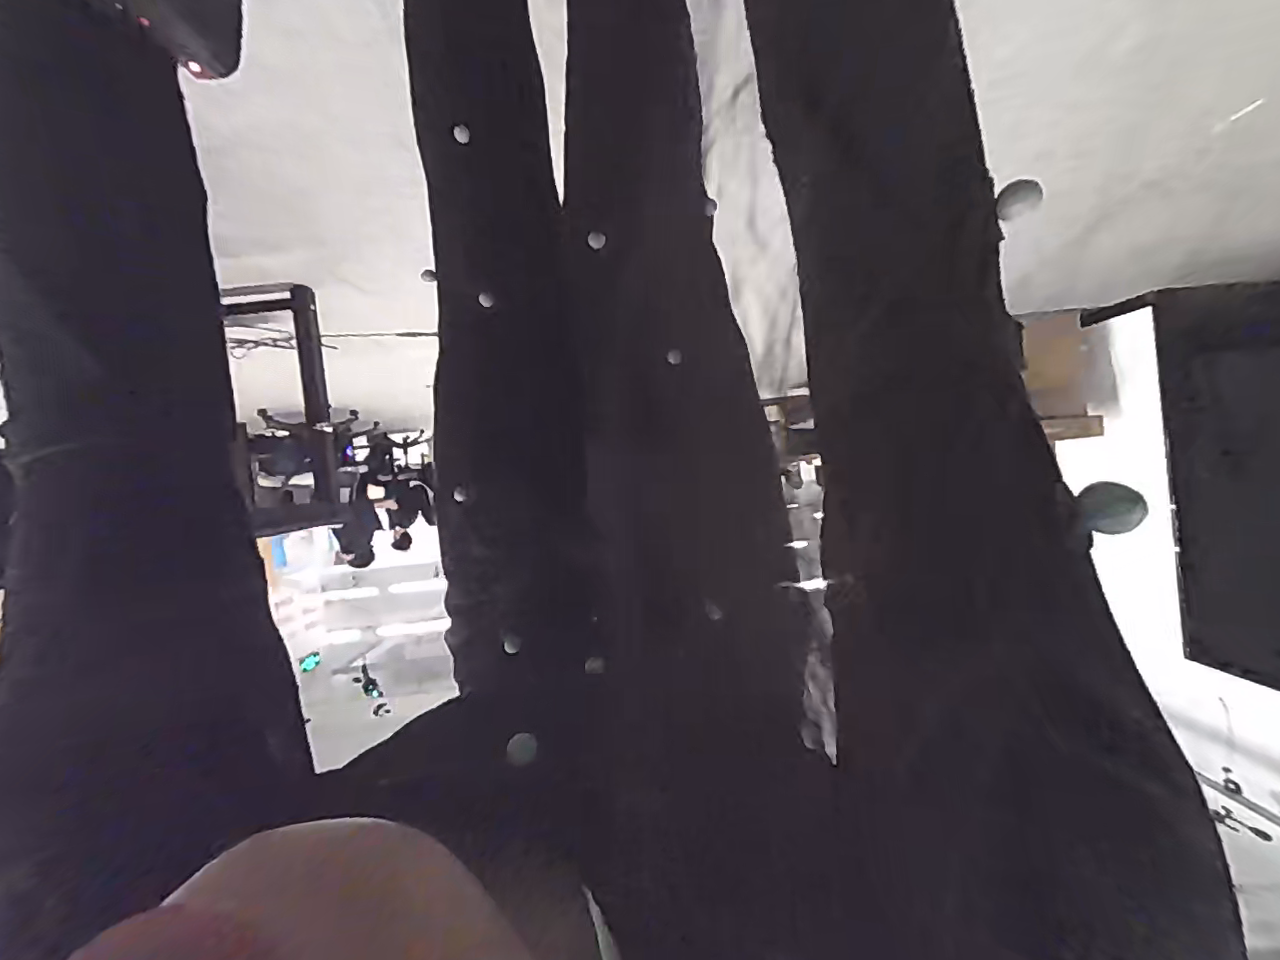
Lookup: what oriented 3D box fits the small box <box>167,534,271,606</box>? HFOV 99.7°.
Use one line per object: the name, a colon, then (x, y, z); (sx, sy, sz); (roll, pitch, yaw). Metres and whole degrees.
small box: (-1.144, 0.239, 1.465); (0.179, 0.176, 0.168); (-5, -179, -1)
